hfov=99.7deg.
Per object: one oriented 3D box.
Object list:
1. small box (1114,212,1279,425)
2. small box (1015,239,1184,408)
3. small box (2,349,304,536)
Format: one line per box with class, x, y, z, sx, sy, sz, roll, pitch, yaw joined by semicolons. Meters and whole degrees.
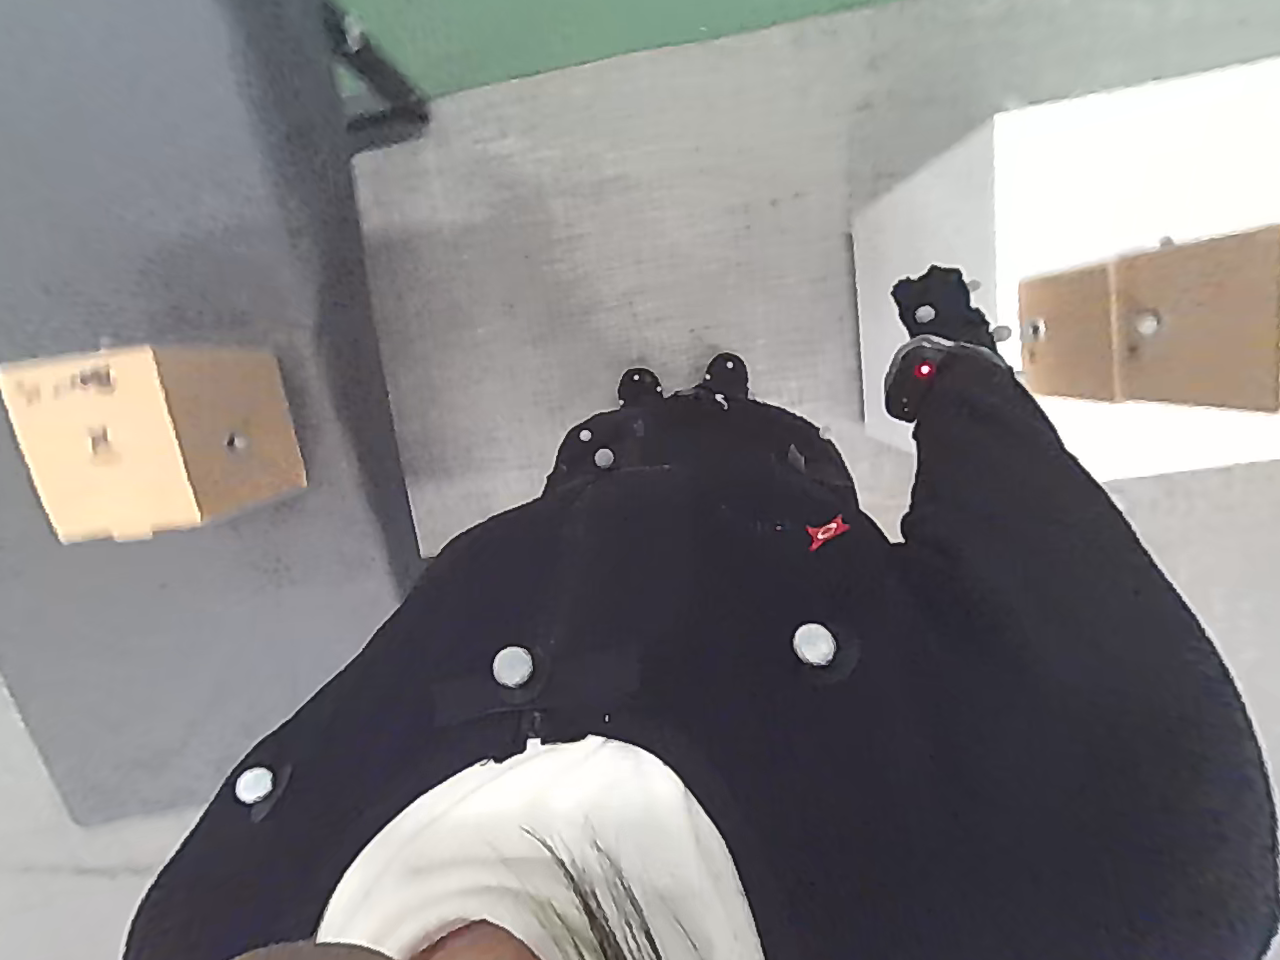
small box;0.601;-0.160;0.503;0.179;0.176;0.168;-15;102;5
small box;0.605;-0.195;0.663;0.179;0.176;0.168;-13;102;7
small box;-0.526;-0.052;0.617;0.168;0.176;0.179;-6;103;5
